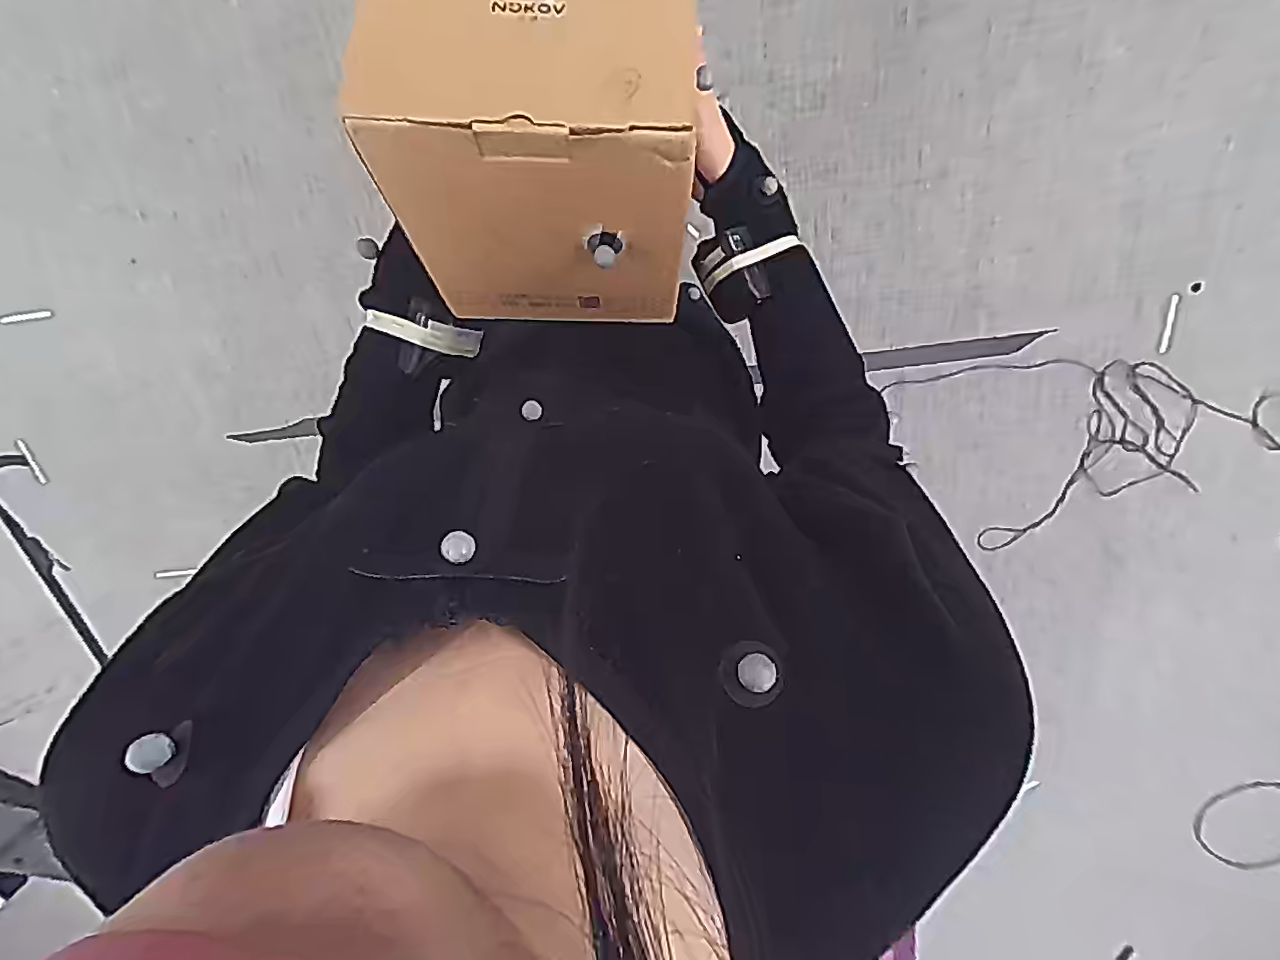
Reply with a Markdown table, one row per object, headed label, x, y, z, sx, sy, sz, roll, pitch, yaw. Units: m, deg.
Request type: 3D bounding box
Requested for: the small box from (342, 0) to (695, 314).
| label | x | y | z | sx | sy | sz | roll | pitch | yaw |
| --- | --- | --- | --- | --- | --- | --- | --- | --- | --- |
| small box | -0.055 | -0.224 | 0.344 | 0.168 | 0.176 | 0.179 | 1 | 74 | -1 |
